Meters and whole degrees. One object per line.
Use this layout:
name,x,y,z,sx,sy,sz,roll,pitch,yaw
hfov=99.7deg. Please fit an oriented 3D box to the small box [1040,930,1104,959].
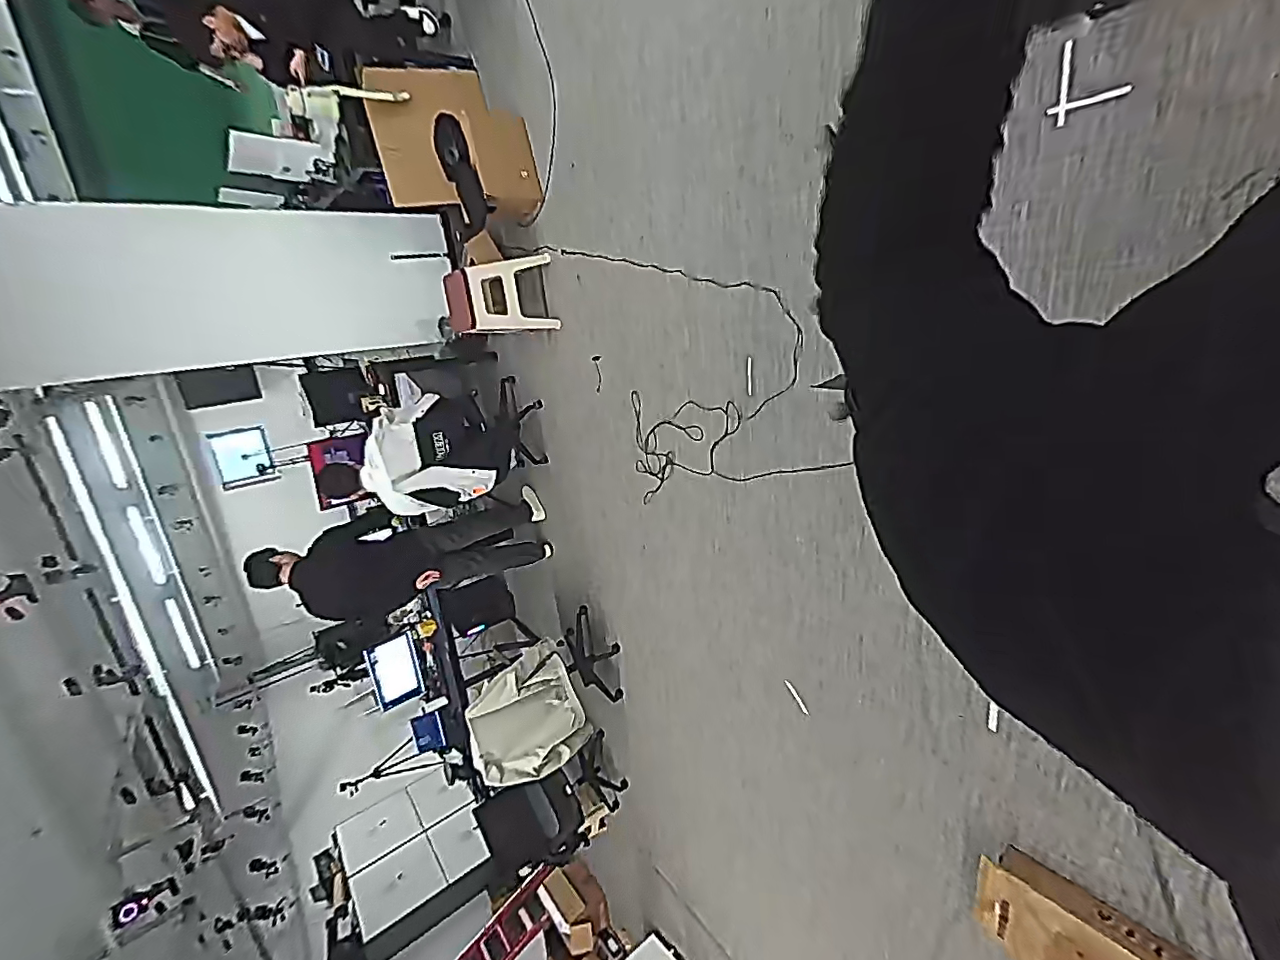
small box,1.151,1.357,1.418,0.168,0.176,0.179,16,119,51
